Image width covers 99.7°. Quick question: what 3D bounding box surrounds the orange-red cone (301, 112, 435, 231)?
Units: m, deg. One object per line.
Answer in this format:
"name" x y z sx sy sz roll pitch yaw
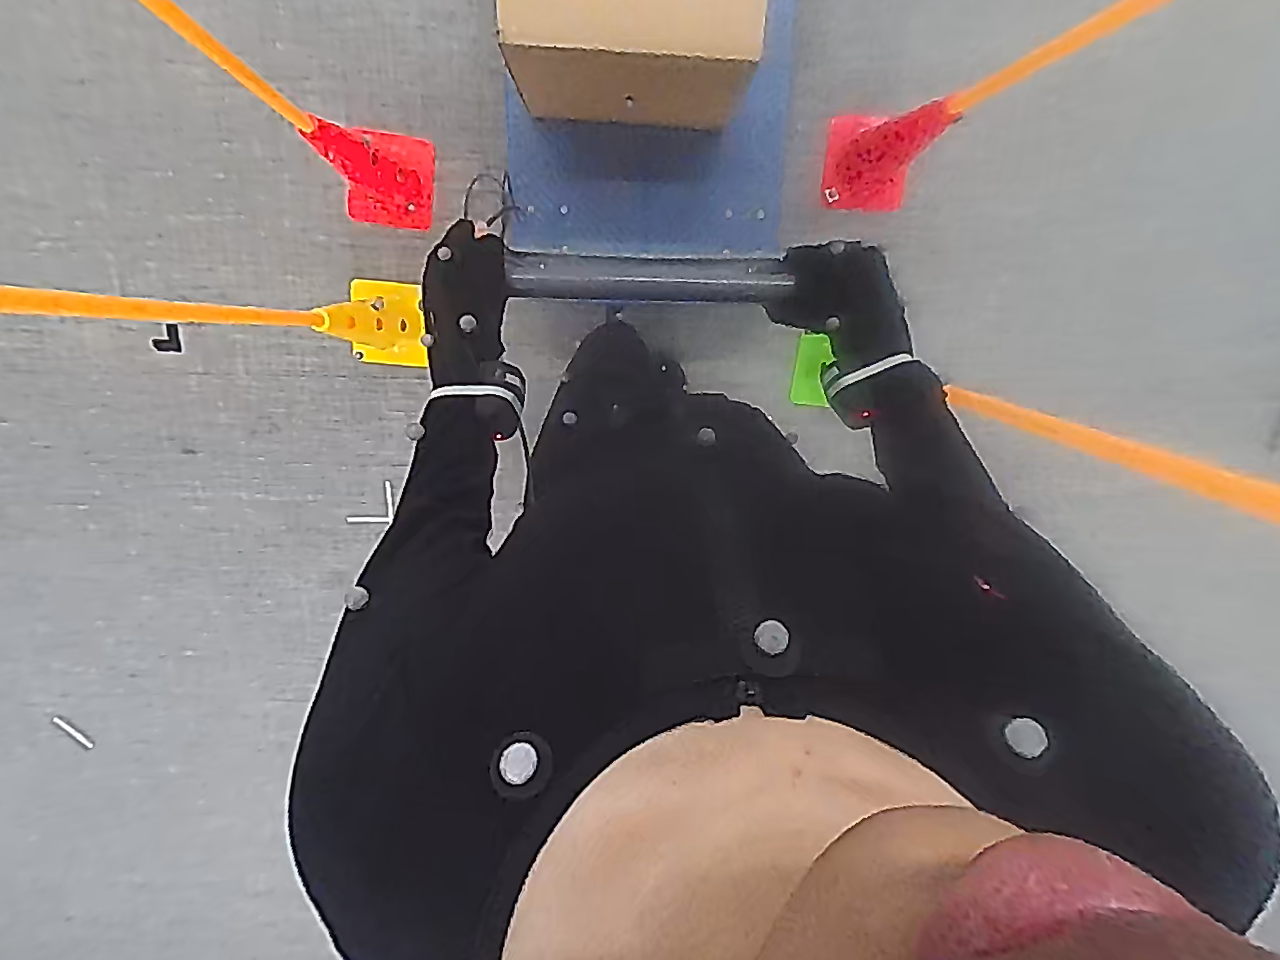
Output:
"orange-red cone" -0.583 -0.668 1.114 0.198 0.360 0.199 9 103 -5

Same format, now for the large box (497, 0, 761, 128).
"large box" -0.015 -0.836 0.935 0.408 0.320 0.320 2 105 -2

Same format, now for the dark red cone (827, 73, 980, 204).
"dark red cone" 0.550 -0.719 1.109 0.201 0.394 0.202 1 105 -4

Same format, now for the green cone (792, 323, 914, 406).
"green cone" 0.513 -0.255 1.248 0.202 0.368 0.200 5 105 -4
